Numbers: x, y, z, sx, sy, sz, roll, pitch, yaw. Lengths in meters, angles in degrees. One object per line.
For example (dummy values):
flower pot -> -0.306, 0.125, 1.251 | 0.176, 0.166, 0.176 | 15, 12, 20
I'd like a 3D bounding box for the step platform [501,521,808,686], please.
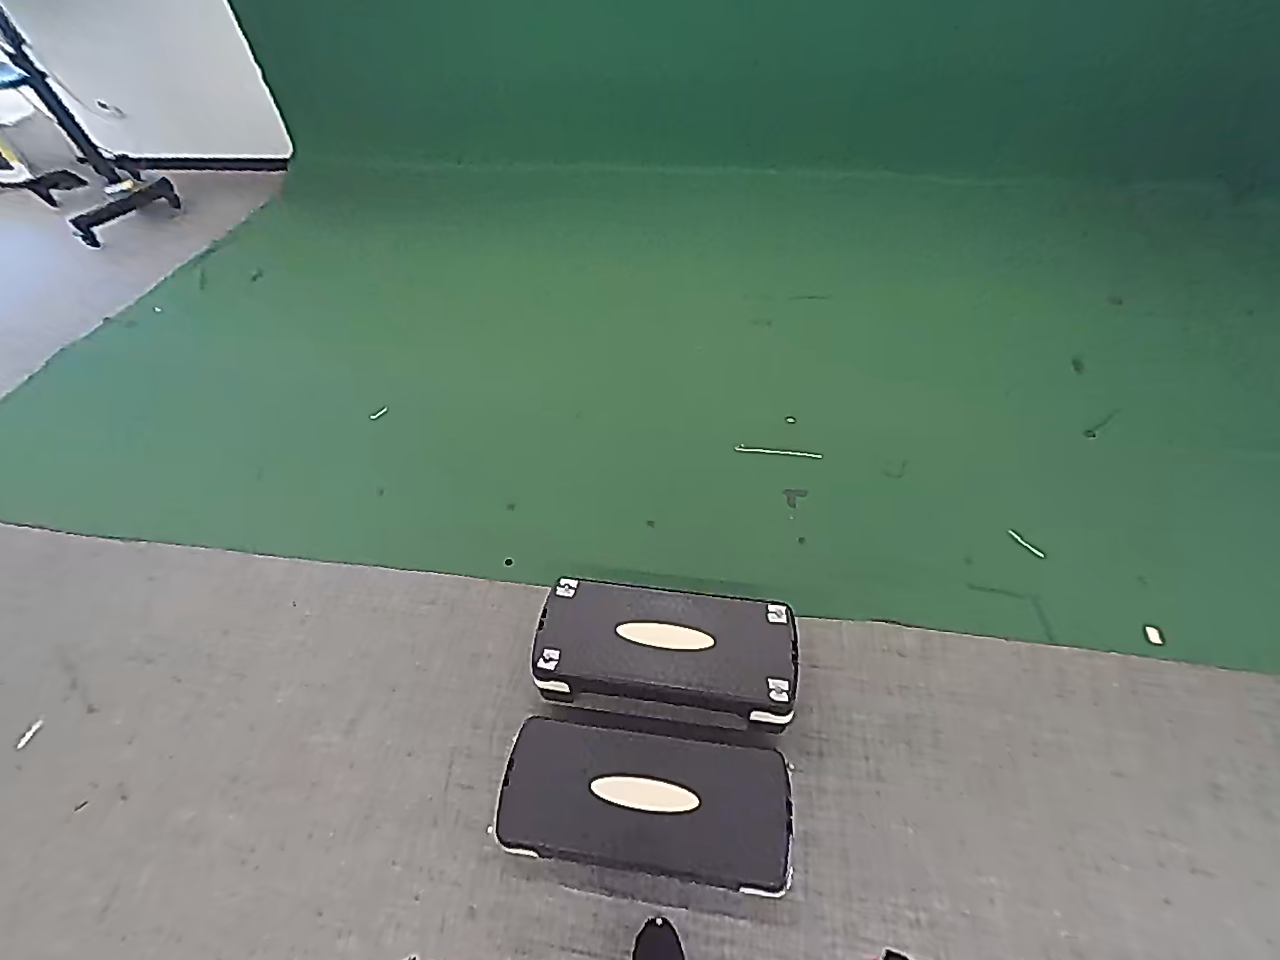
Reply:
step platform -> 0.036, 0.293, 1.293 | 0.684, 0.204, 0.286 | 5, 51, 7
